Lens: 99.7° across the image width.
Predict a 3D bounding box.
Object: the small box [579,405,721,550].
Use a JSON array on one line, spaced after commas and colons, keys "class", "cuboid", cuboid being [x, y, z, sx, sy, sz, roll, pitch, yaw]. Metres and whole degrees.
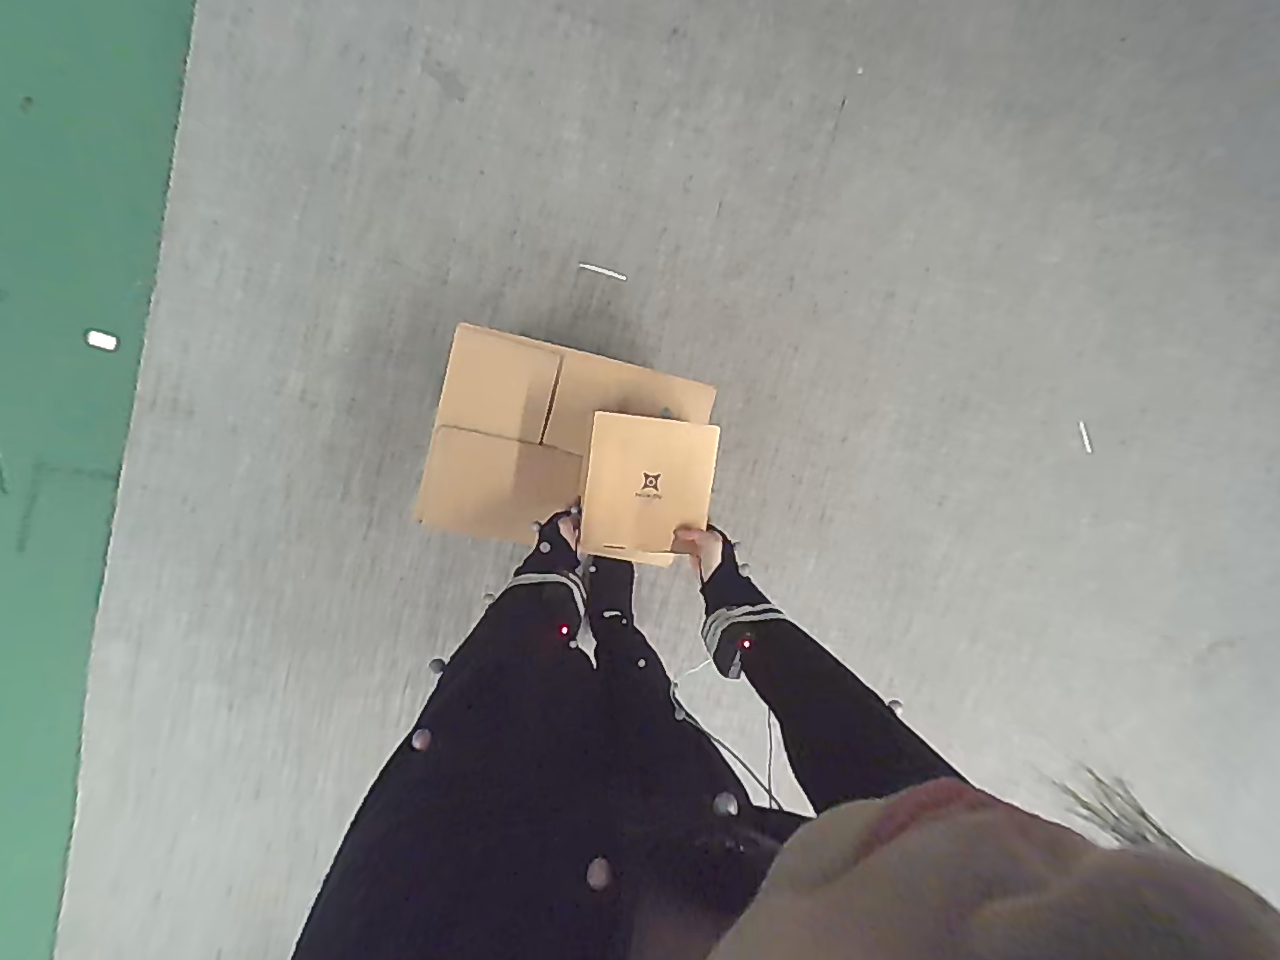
[{"class": "small box", "cuboid": [0.004, -0.011, 0.771, 0.168, 0.176, 0.179, 5, 98, -8]}]
